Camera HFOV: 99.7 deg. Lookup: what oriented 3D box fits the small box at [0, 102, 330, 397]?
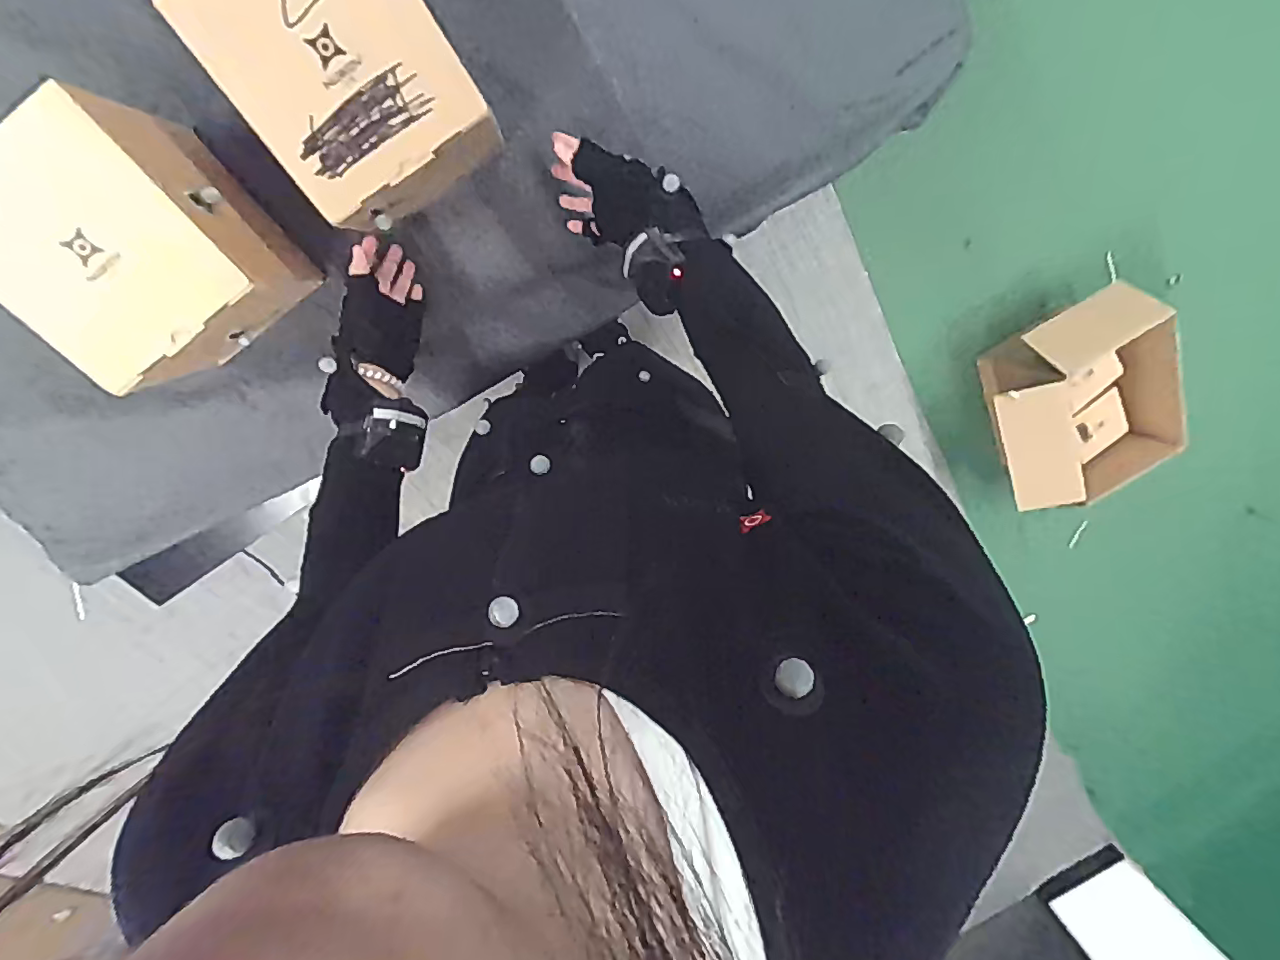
[{"bbox_3d":[-0.451,-0.210,0.524,0.168,0.176,0.179,-36,113,5],"label":"small box"}]
